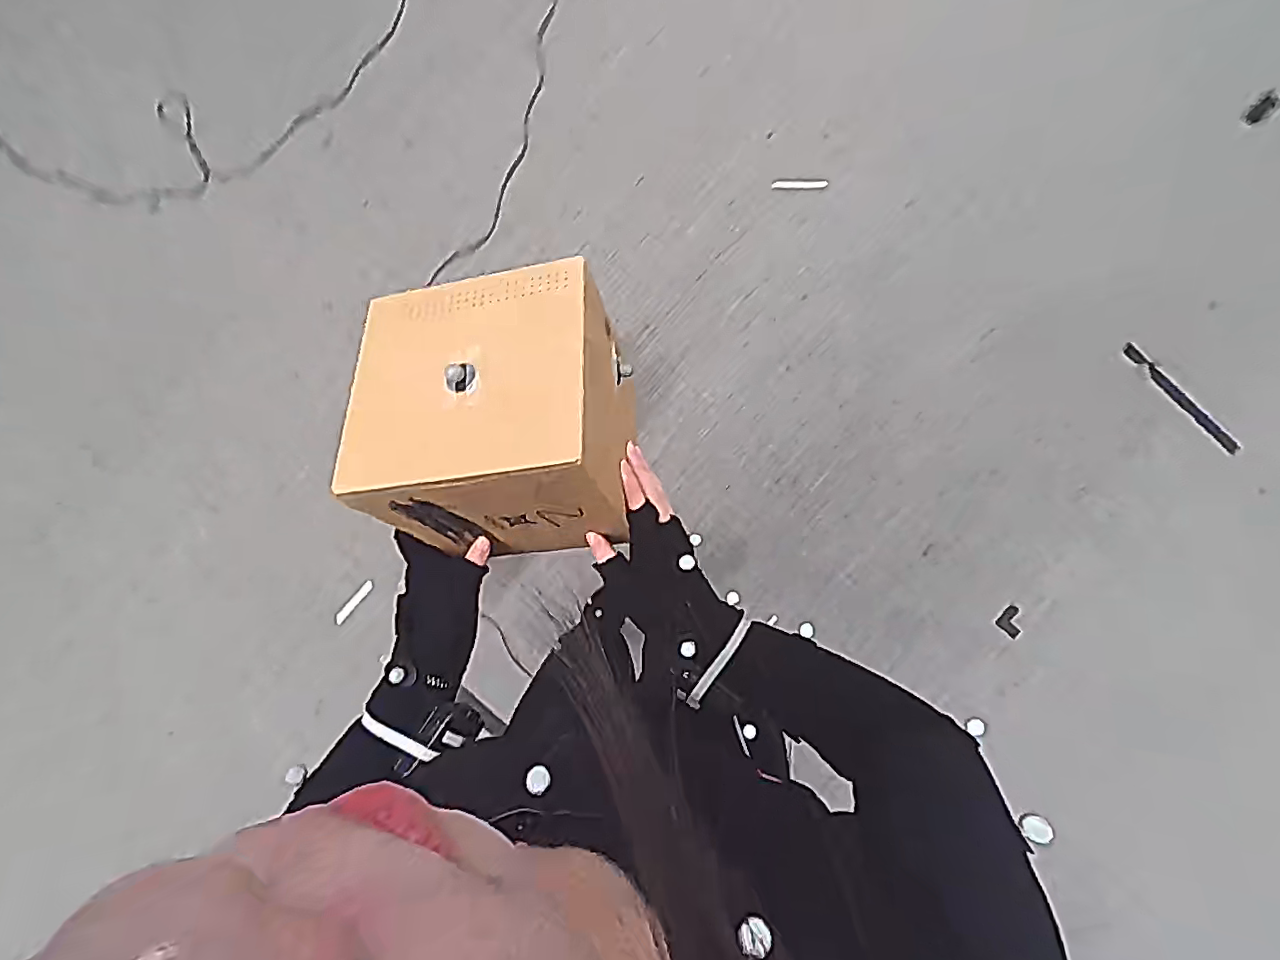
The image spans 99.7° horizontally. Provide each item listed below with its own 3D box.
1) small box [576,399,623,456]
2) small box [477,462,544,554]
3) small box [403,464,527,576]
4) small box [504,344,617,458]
[{"bbox_3d":[-0.158,-0.170,1.348,0.179,0.176,0.168,39,92,-1],"label":"small box"},{"bbox_3d":[-0.367,0.073,1.356,0.179,0.176,0.168,43,92,-1],"label":"small box"},{"bbox_3d":[-0.374,0.083,1.194,0.168,0.176,0.179,39,92,0],"label":"small box"},{"bbox_3d":[-0.165,-0.164,1.183,0.168,0.176,0.179,39,90,0],"label":"small box"}]
